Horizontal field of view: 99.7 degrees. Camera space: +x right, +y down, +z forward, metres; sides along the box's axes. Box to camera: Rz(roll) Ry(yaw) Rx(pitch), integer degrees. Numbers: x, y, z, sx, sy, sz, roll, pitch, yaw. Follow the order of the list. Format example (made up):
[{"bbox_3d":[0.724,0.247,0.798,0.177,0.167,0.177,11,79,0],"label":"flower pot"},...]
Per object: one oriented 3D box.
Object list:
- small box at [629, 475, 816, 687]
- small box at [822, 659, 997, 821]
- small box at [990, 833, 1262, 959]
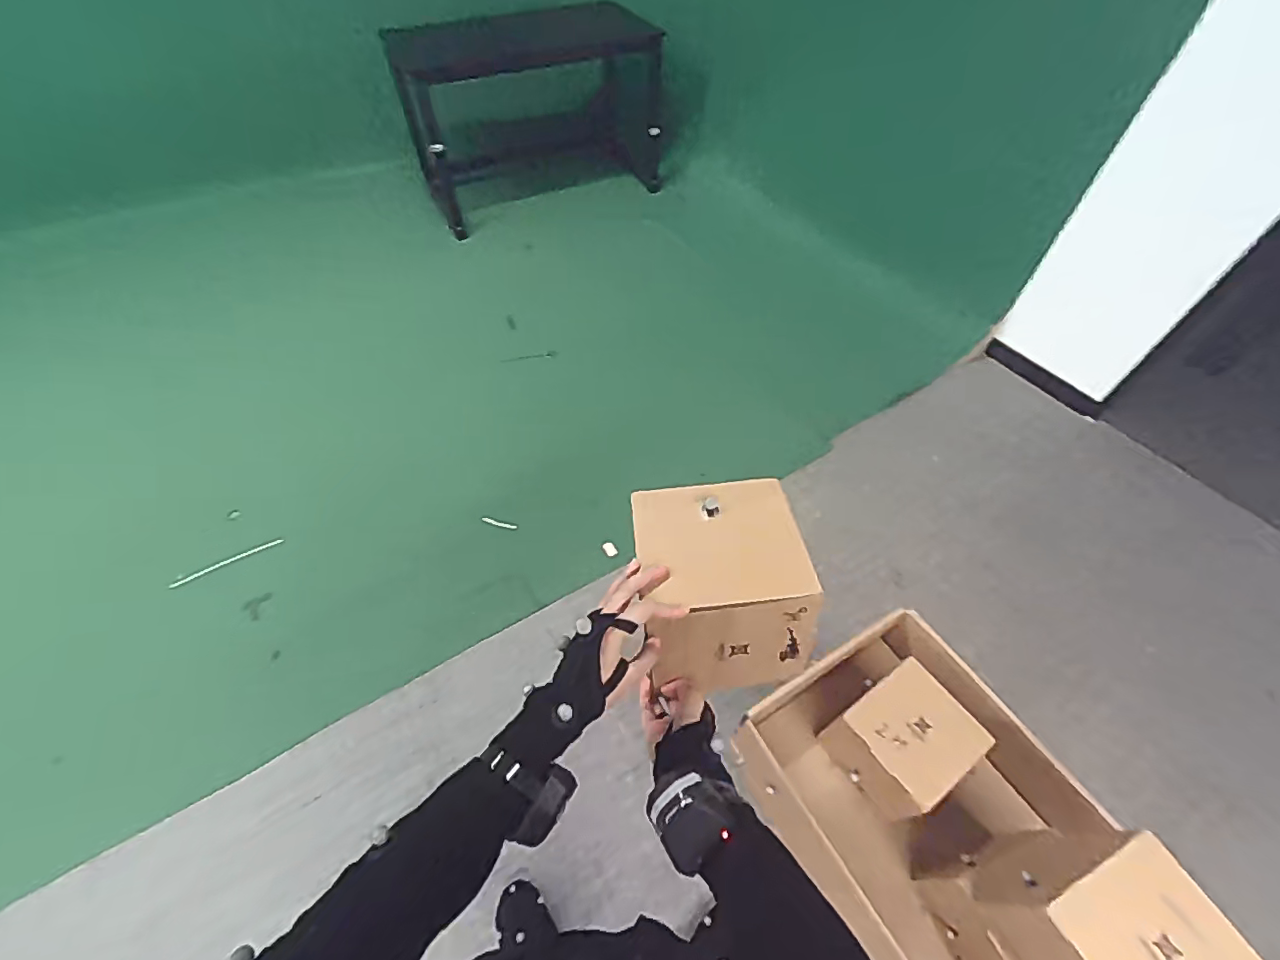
[{"bbox_3d":[0.080,0.112,0.617,0.179,0.168,0.176,-6,43,0],"label":"small box"},{"bbox_3d":[0.440,0.440,0.914,0.179,0.176,0.168,-28,58,-19],"label":"small box"},{"bbox_3d":[0.556,0.549,0.633,0.179,0.176,0.168,-20,57,-15],"label":"small box"}]
